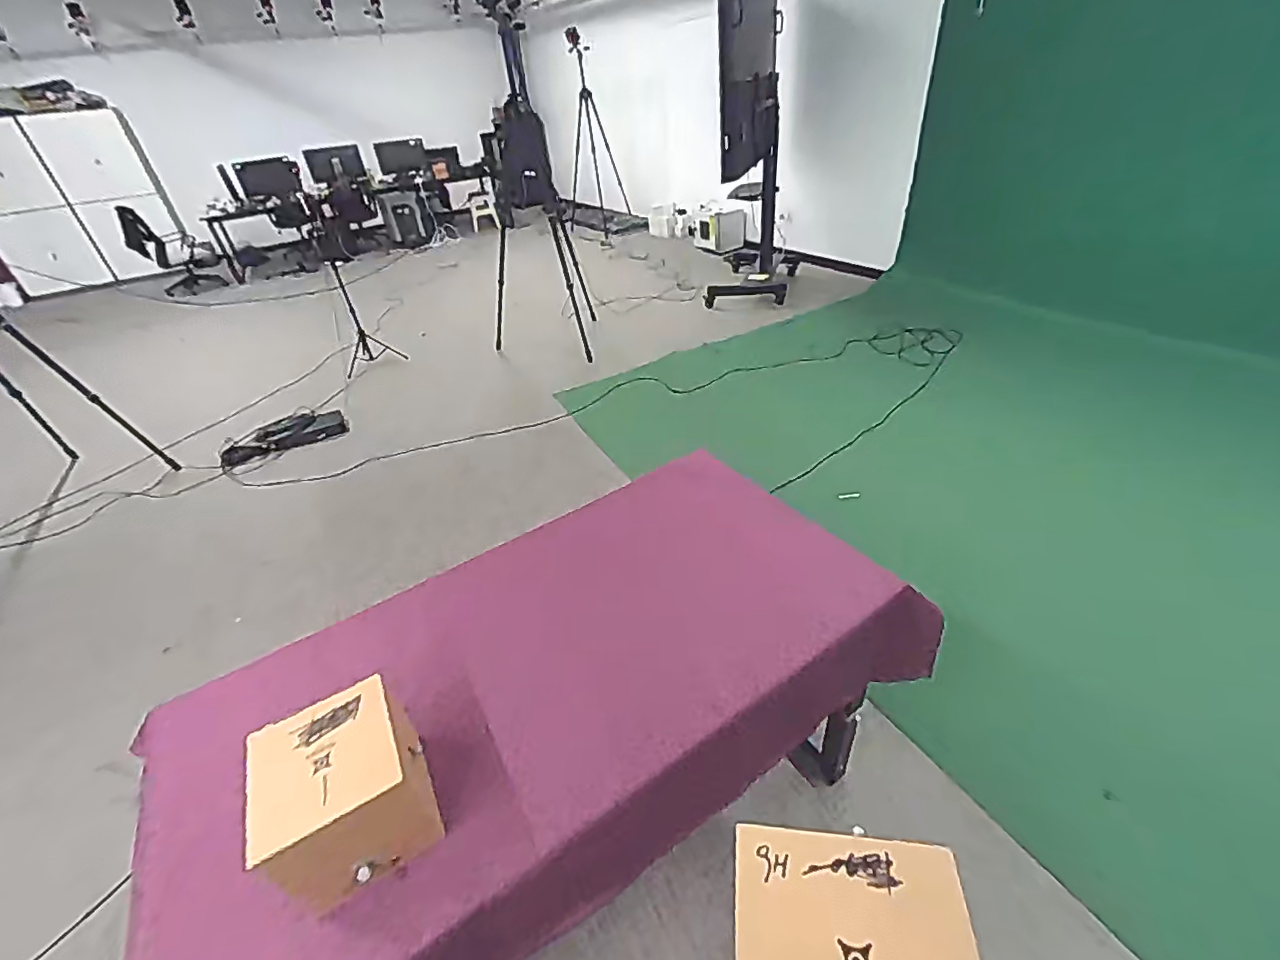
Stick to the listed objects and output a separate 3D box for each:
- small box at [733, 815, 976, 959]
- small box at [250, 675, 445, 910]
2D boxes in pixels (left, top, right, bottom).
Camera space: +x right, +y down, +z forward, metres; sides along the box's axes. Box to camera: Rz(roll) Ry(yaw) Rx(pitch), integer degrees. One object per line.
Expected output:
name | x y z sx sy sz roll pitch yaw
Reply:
small box | 0.158 0.398 0.427 0.168 0.176 0.179 1 42 11
small box | -0.376 0.401 0.705 0.168 0.176 0.179 -23 40 -22
